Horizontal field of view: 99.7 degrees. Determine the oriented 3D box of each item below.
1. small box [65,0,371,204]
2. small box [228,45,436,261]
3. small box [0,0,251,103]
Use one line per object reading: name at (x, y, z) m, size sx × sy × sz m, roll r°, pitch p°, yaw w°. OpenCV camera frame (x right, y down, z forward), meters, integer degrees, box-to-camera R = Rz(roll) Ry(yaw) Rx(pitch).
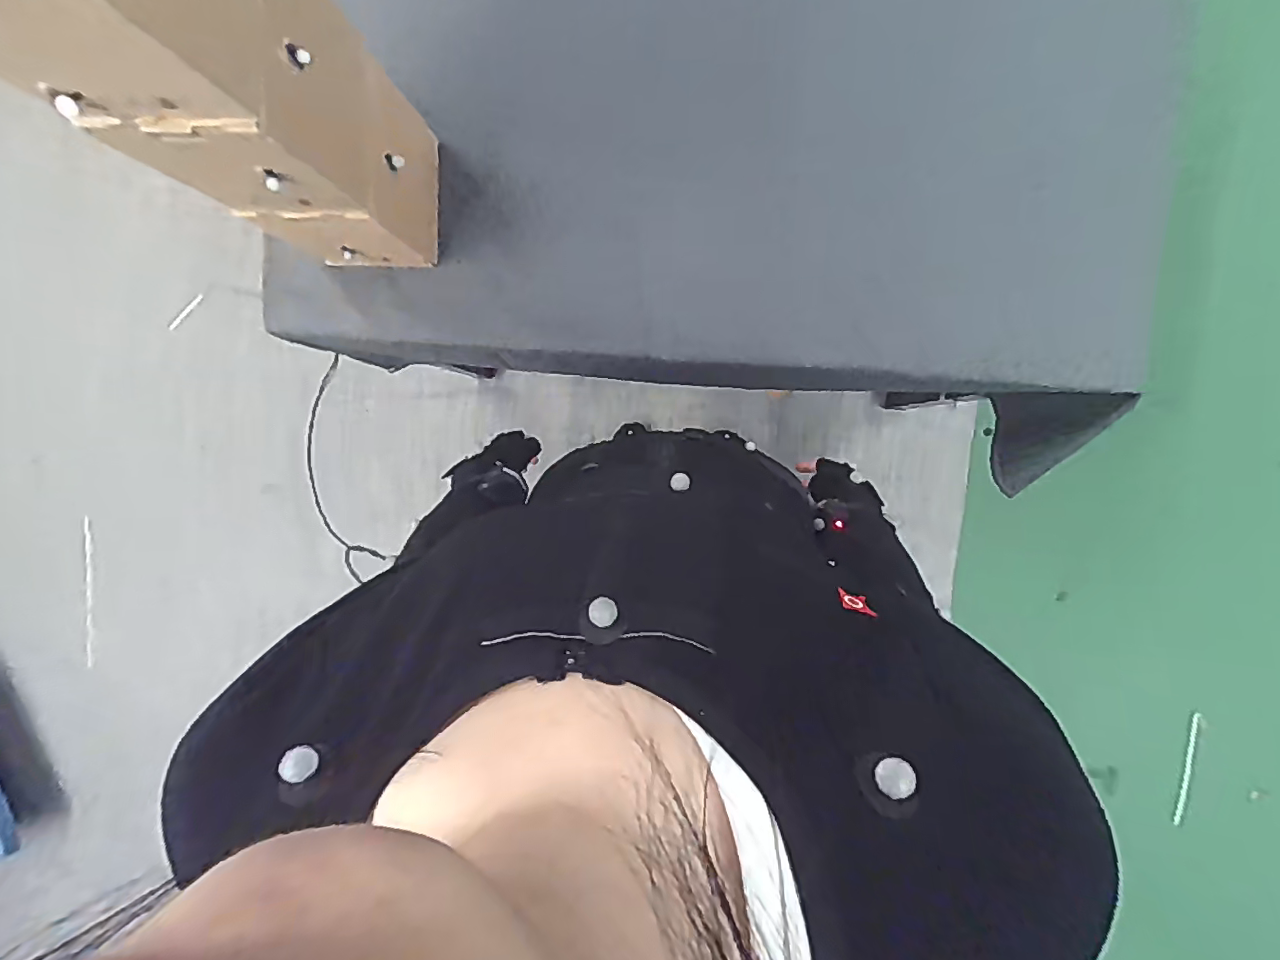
small box at (-0.376, -0.381, 0.508) m, size 0.168 × 0.176 × 0.179 m, roll 3°, pitch 95°, yaw 3°
small box at (-0.367, -0.391, 0.670) m, size 0.168 × 0.176 × 0.179 m, roll 3°, pitch 95°, yaw 4°
small box at (-0.386, -0.376, 0.345) m, size 0.168 × 0.176 × 0.179 m, roll 2°, pitch 94°, yaw 2°
